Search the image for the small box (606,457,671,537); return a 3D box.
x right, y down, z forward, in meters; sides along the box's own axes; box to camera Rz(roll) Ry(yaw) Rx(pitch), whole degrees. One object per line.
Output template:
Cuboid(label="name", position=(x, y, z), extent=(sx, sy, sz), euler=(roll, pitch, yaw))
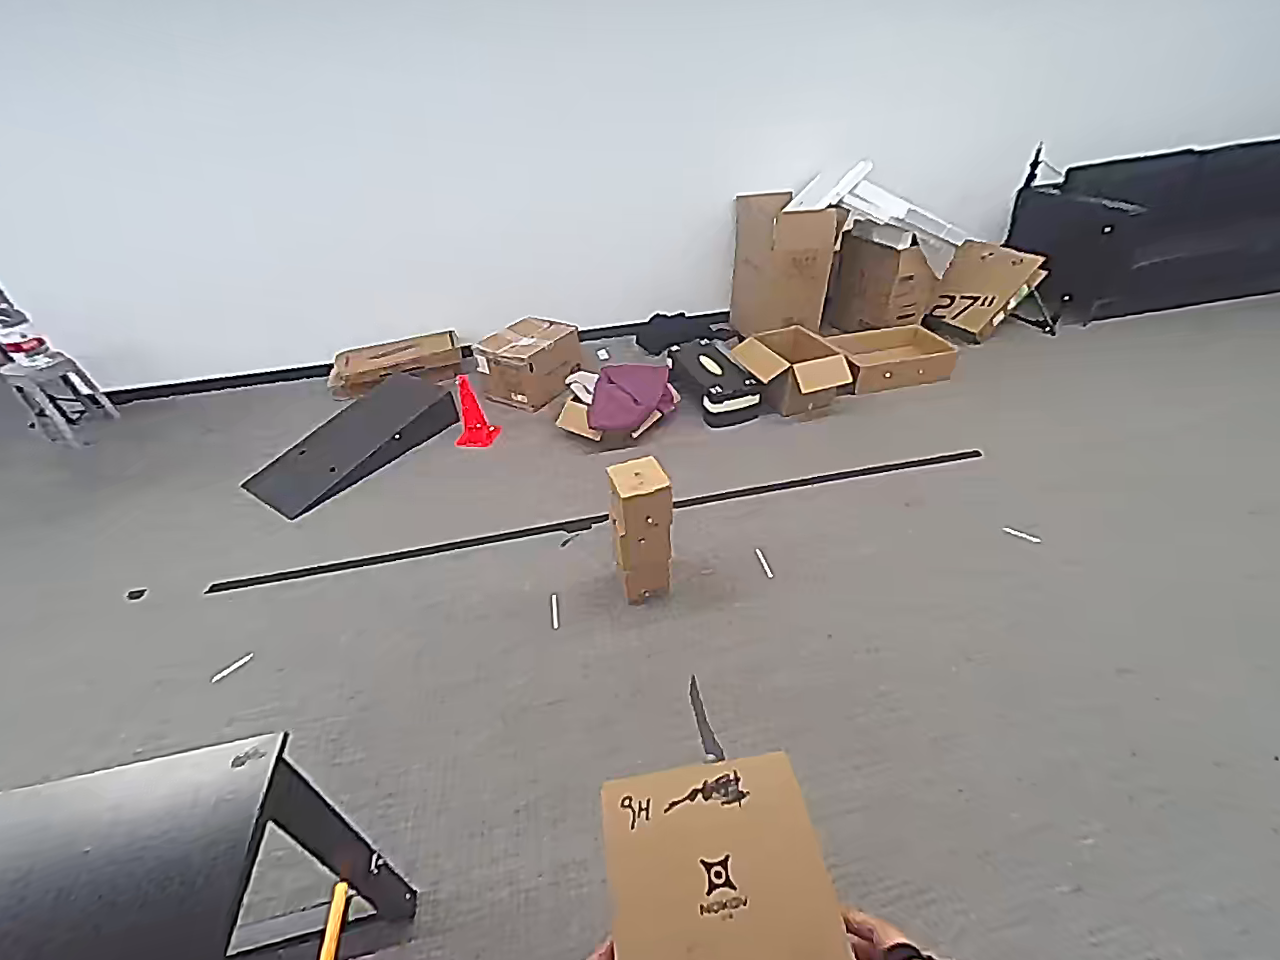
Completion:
Cuboid(label="small box", position=(-0.004, 0.055, 1.763), extent=(0.168, 0.176, 0.179), euler=(-15, 39, -13))

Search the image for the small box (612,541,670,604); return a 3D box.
Cuboid(label="small box", position=(0.003, 0.317, 1.964), extent=(0.168, 0.176, 0.179), euler=(-15, 40, -11))

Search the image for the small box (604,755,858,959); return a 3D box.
Cuboid(label="small box", position=(0.066, 0.361, 0.450), extent=(0.168, 0.176, 0.179), euler=(-8, 44, -5))

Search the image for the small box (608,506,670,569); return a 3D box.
Cuboid(label="small box", position=(-0.002, 0.185, 1.866), extent=(0.179, 0.176, 0.168), euler=(-12, 39, -10))
